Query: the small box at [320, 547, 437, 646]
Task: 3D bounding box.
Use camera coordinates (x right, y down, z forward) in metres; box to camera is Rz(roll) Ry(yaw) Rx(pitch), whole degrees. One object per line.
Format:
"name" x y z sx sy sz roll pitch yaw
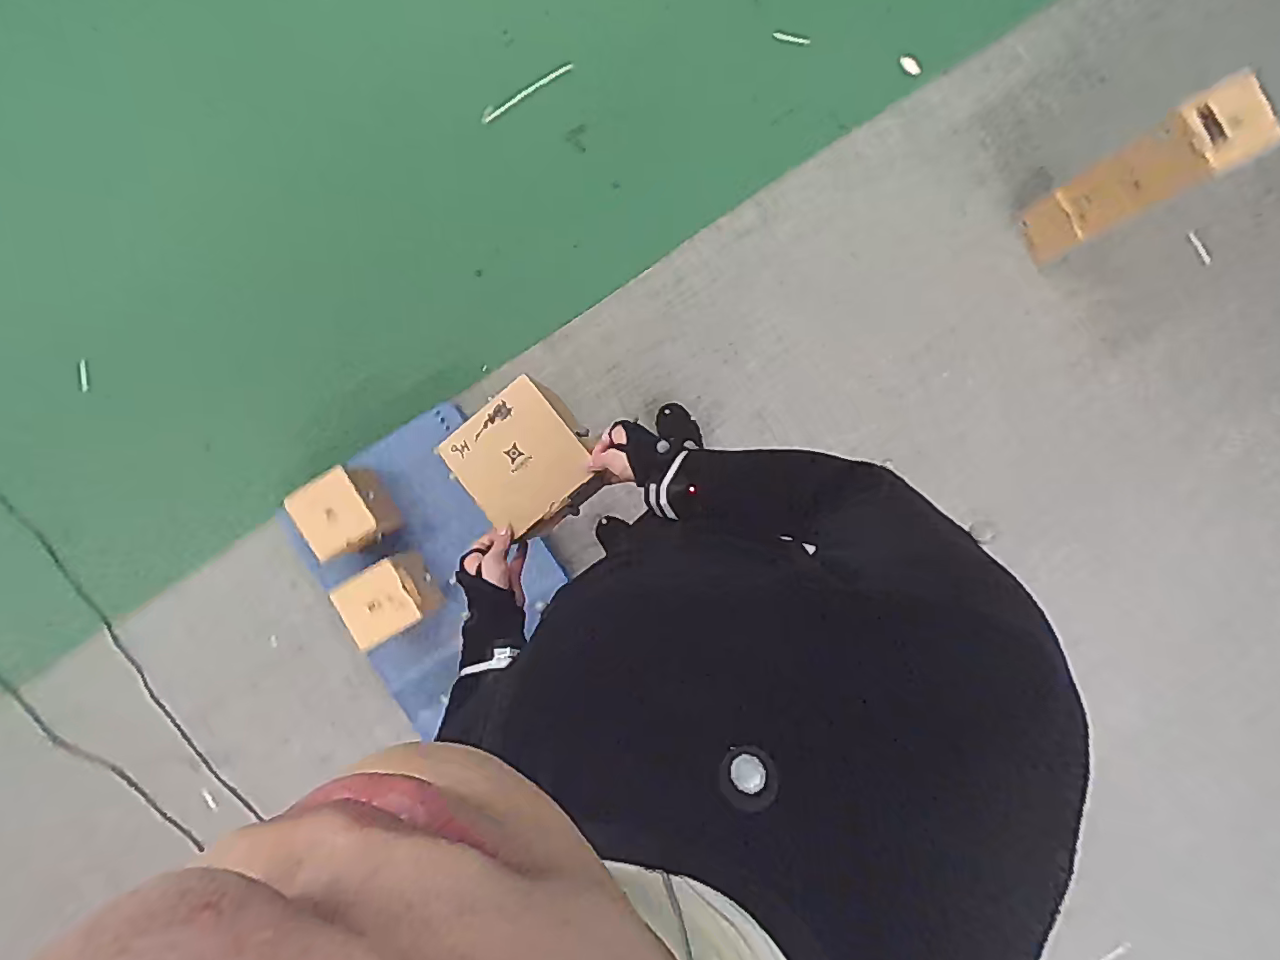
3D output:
"small box" -0.653 0.289 1.372 0.179 0.176 0.168 -30 91 -1

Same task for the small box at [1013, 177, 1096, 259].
"small box" 1.227 -0.773 1.563 0.179 0.176 0.168 -29 91 -1

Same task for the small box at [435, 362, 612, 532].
"small box" -0.159 -0.046 0.807 0.168 0.176 0.179 -37 88 4

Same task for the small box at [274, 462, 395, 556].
"small box" -0.761 0.068 1.370 0.168 0.176 0.179 -32 91 -1
